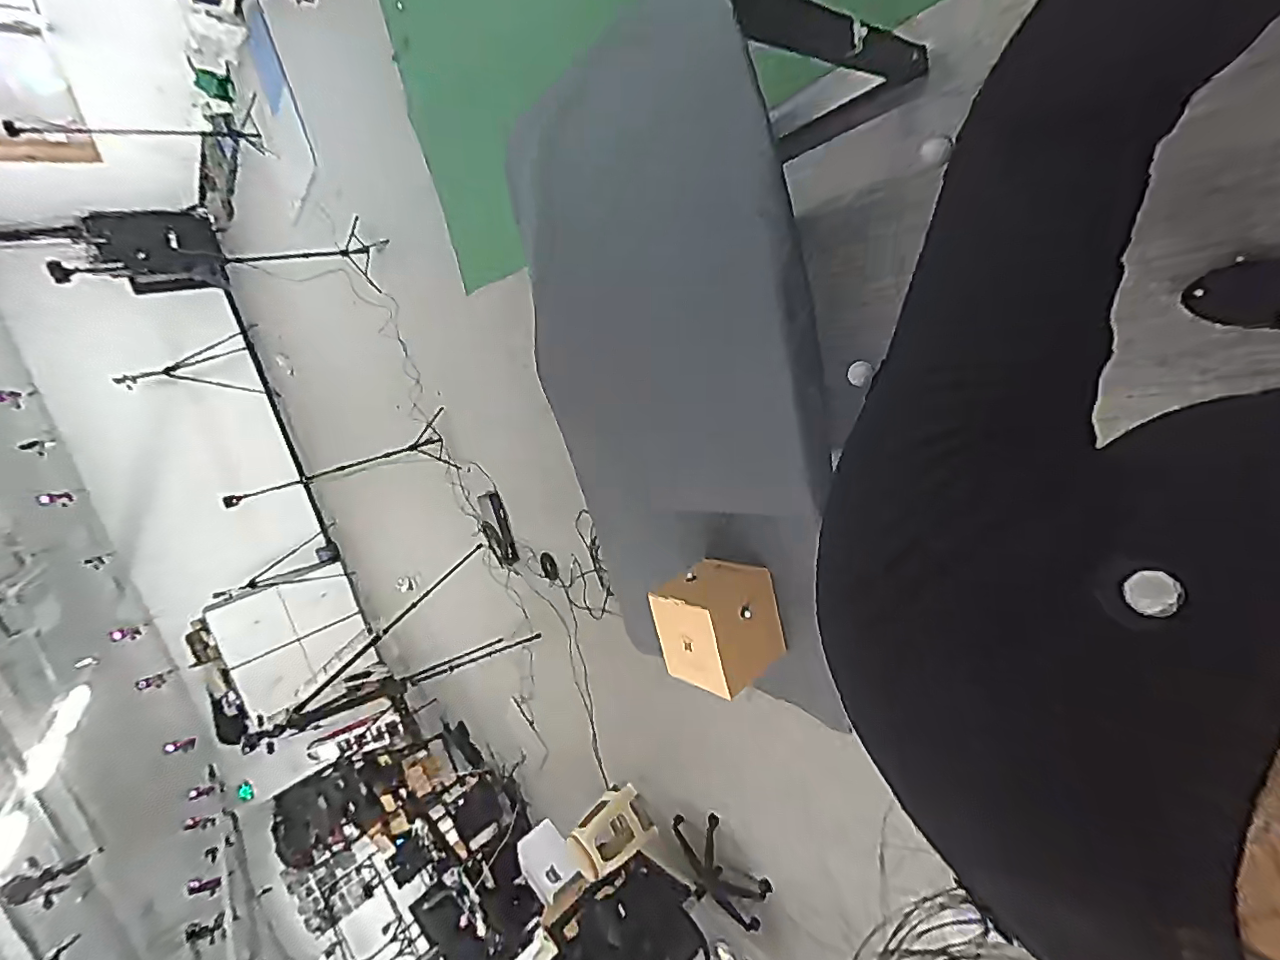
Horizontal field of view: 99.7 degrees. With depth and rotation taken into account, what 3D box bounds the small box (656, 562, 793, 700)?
[{"bbox_3d":[0.162,0.269,1.014,0.168,0.176,0.179,0,109,53],"label":"small box"}]
